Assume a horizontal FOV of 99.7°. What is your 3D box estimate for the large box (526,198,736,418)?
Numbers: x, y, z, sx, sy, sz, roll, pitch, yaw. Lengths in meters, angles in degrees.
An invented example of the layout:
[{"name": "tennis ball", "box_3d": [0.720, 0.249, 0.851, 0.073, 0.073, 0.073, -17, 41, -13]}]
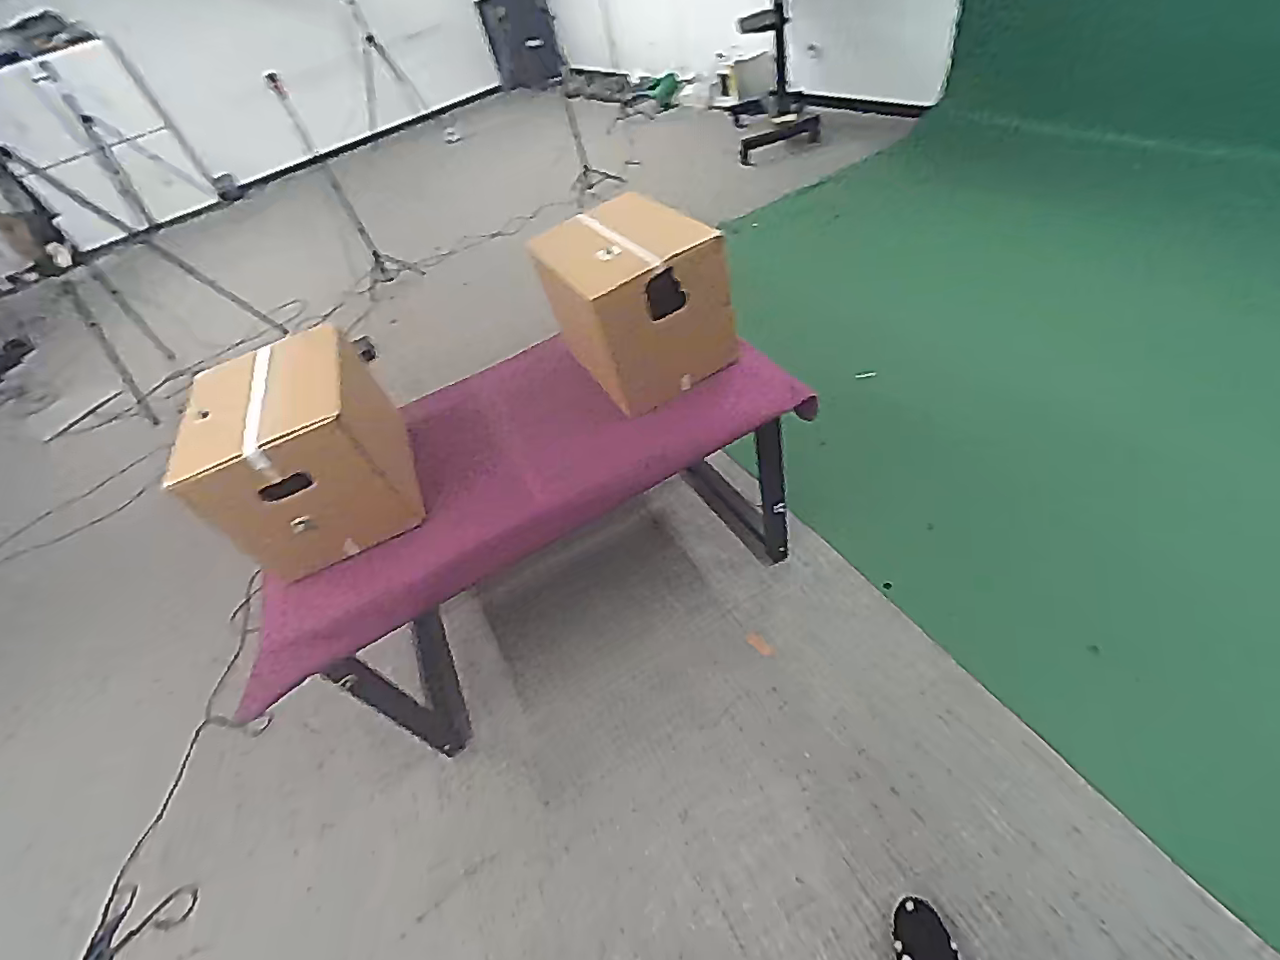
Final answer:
[{"name": "large box", "box_3d": [-0.019, -0.421, 1.297, 0.320, 0.320, 0.408, -31, 47, -9]}]
